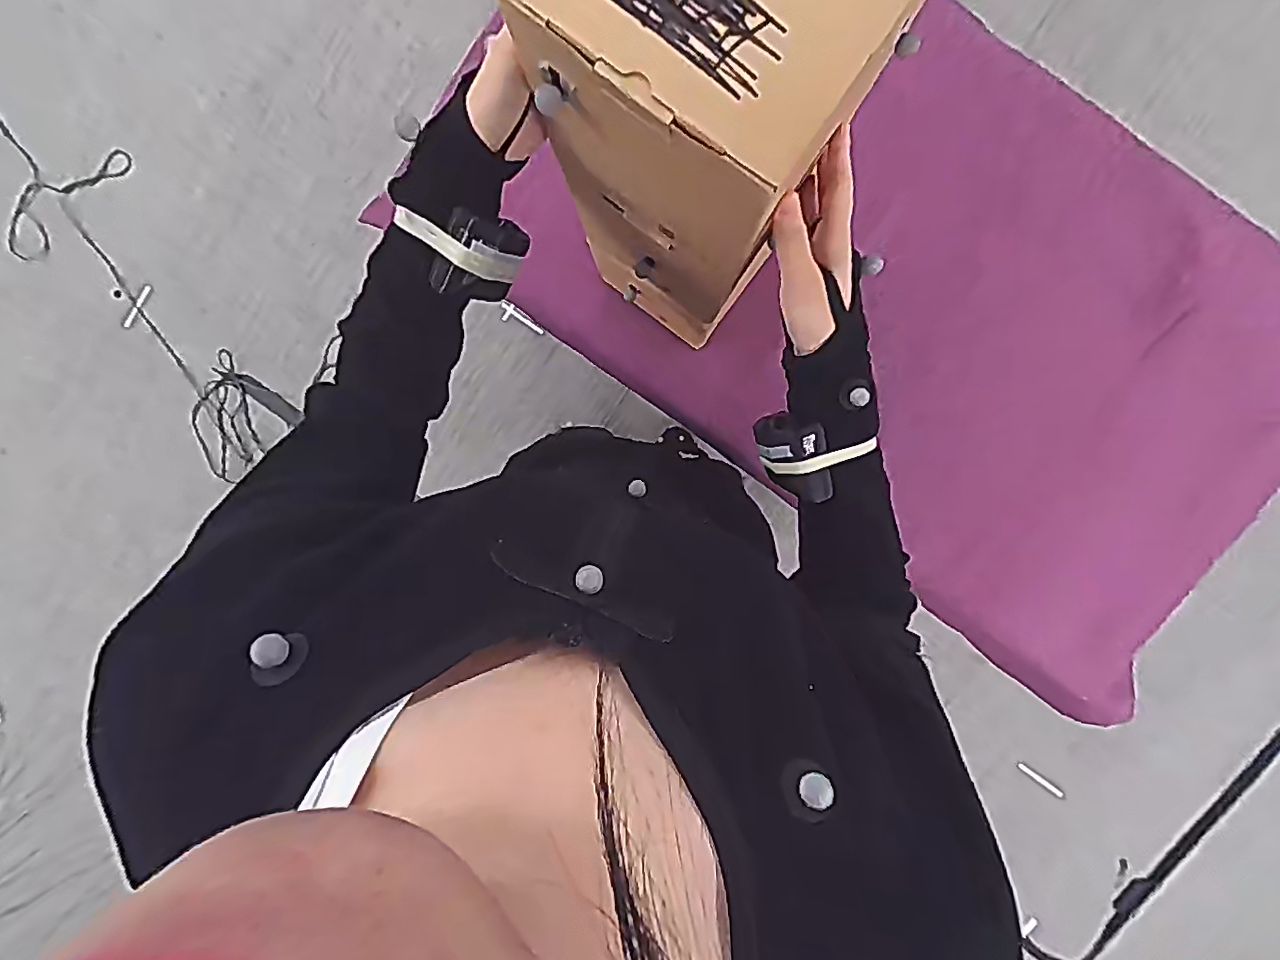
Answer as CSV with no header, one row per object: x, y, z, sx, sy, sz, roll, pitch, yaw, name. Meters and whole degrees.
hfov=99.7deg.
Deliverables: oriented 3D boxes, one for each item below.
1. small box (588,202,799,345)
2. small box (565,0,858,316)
0.061,-0.287,0.660,0.168,0.176,0.179,36,95,-2,small box
0.058,-0.276,0.497,0.168,0.176,0.179,34,96,-2,small box
